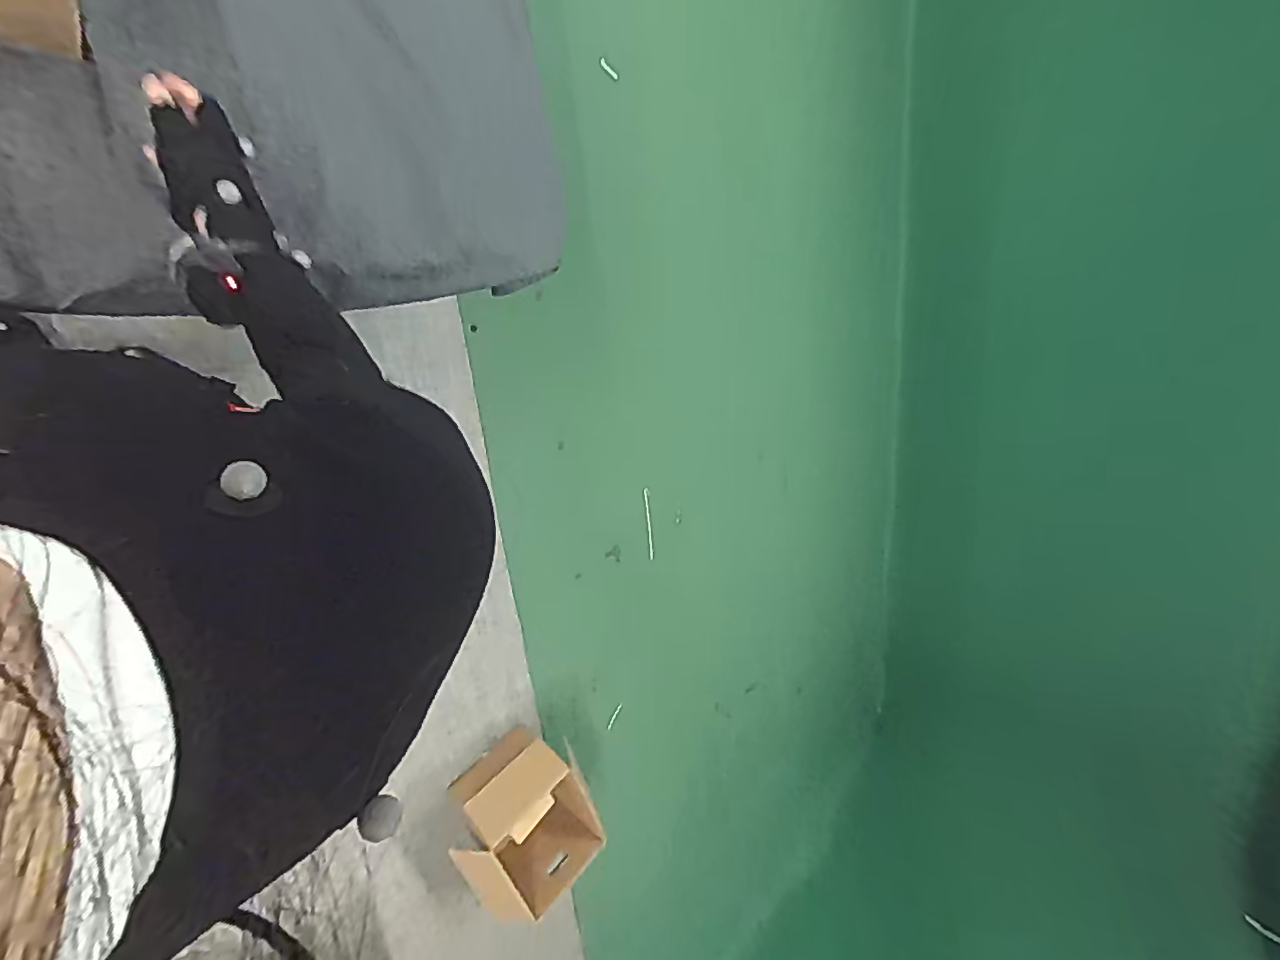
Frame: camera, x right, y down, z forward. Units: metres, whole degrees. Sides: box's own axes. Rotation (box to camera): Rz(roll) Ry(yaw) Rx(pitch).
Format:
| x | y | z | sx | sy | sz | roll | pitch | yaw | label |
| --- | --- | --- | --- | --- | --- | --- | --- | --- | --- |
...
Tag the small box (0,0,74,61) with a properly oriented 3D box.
| x | y | z | sx | sy | sz | roll | pitch | yaw | label |
| --- | --- | --- | --- | --- | --- | --- | --- | --- | --- |
| -0.548 | -0.452 | 0.387 | 0.168 | 0.176 | 0.179 | -18 | 111 | -41 | small box |
